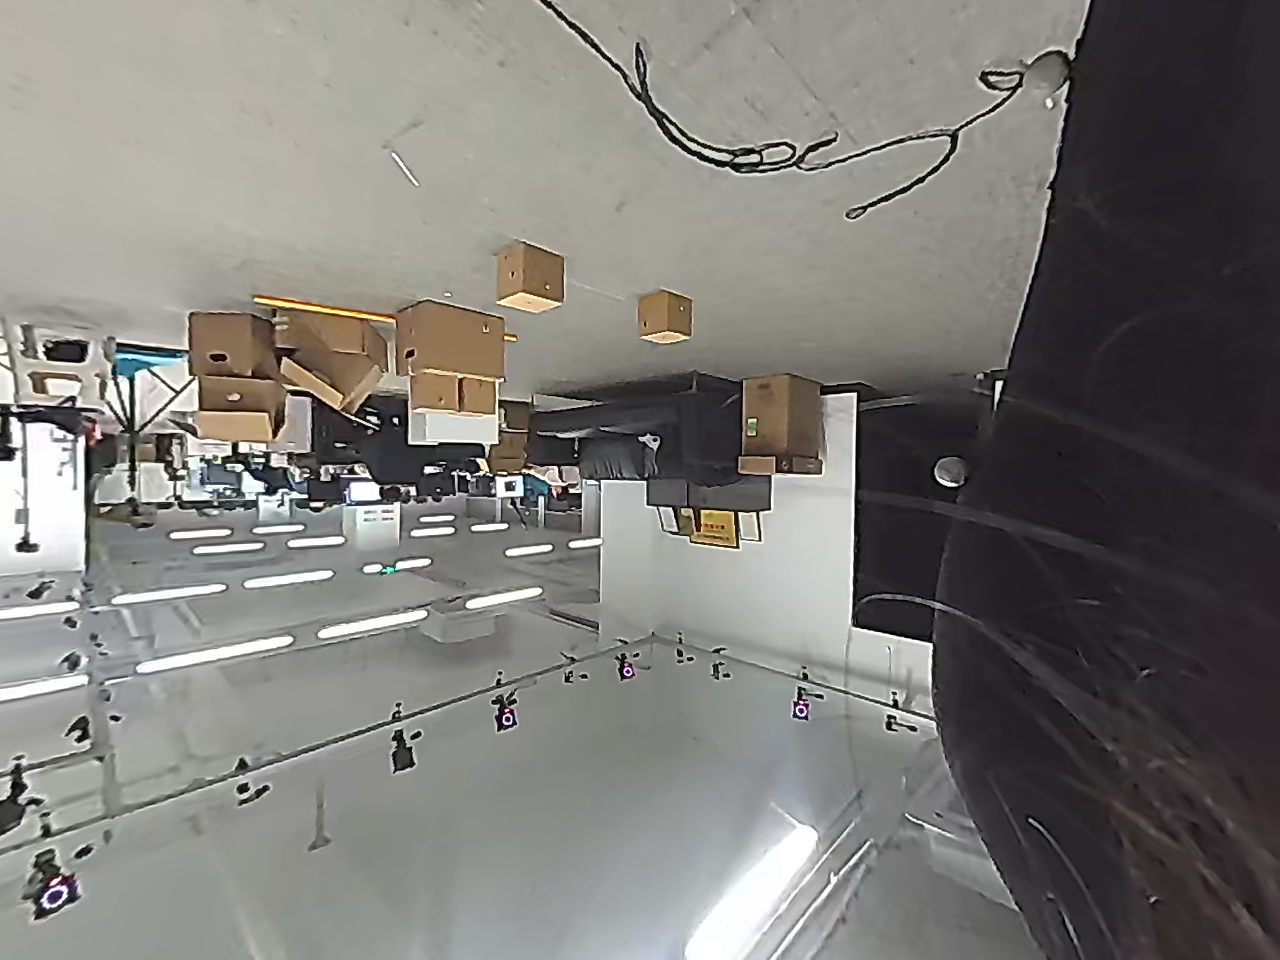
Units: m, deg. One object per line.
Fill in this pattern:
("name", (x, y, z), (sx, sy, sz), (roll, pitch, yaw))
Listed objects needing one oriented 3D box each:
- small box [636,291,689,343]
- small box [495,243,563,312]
("small box", (0.101, -0.705, 2.351), (0.179, 0.176, 0.168), (2, -178, 44))
("small box", (-0.385, -0.699, 1.868), (0.168, 0.176, 0.179), (2, -178, 44))
